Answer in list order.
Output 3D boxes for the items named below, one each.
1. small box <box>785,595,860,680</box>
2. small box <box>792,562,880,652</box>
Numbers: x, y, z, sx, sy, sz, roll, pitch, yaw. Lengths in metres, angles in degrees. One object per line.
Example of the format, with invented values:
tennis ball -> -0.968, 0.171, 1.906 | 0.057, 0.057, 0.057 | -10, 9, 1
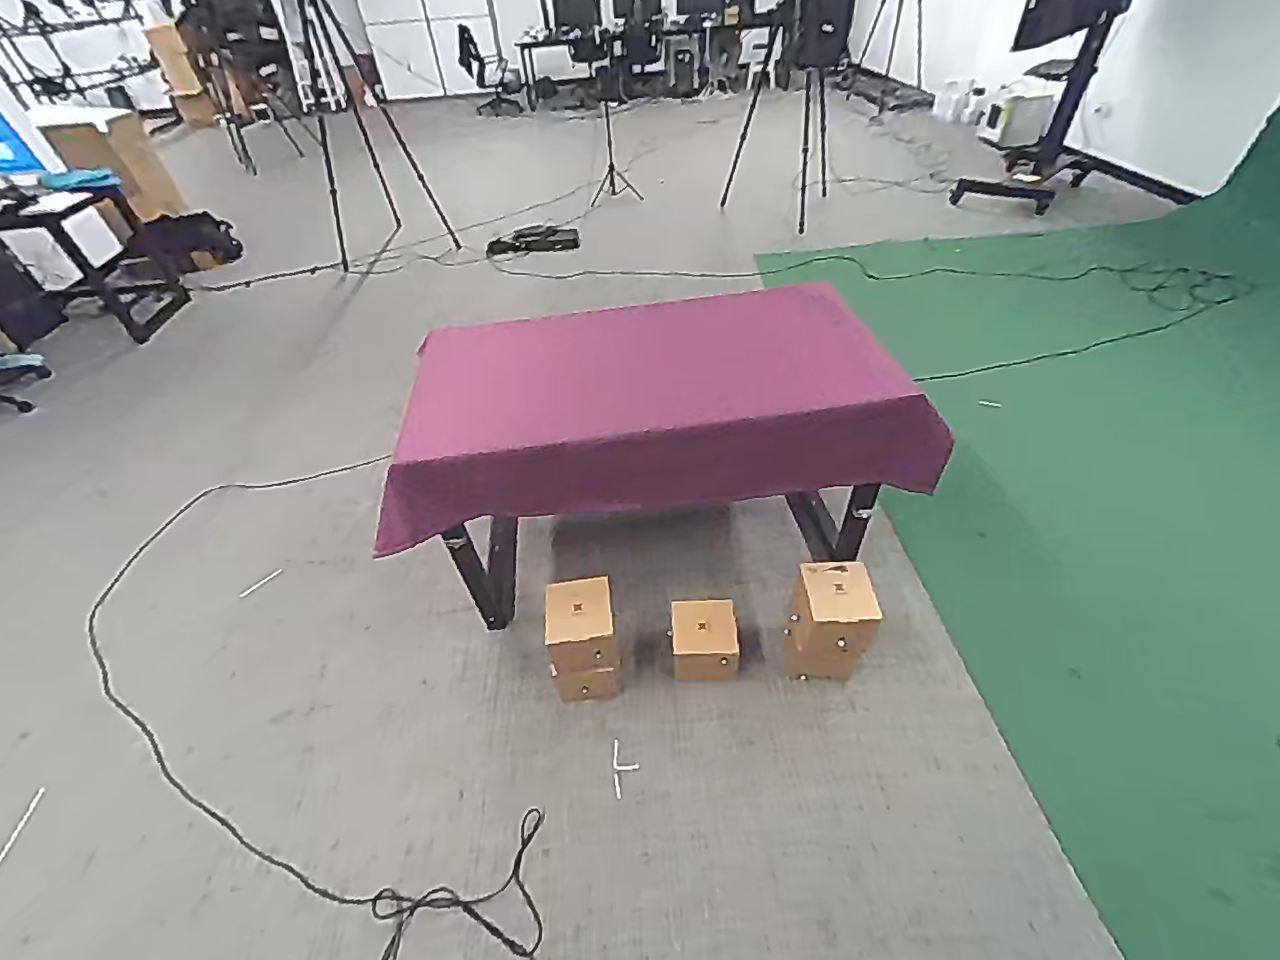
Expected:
small box -> 0.508, 0.447, 1.527 | 0.168, 0.176, 0.179 | 1, 44, 6
small box -> 0.501, 0.335, 1.407 | 0.168, 0.176, 0.179 | -2, 46, 3
